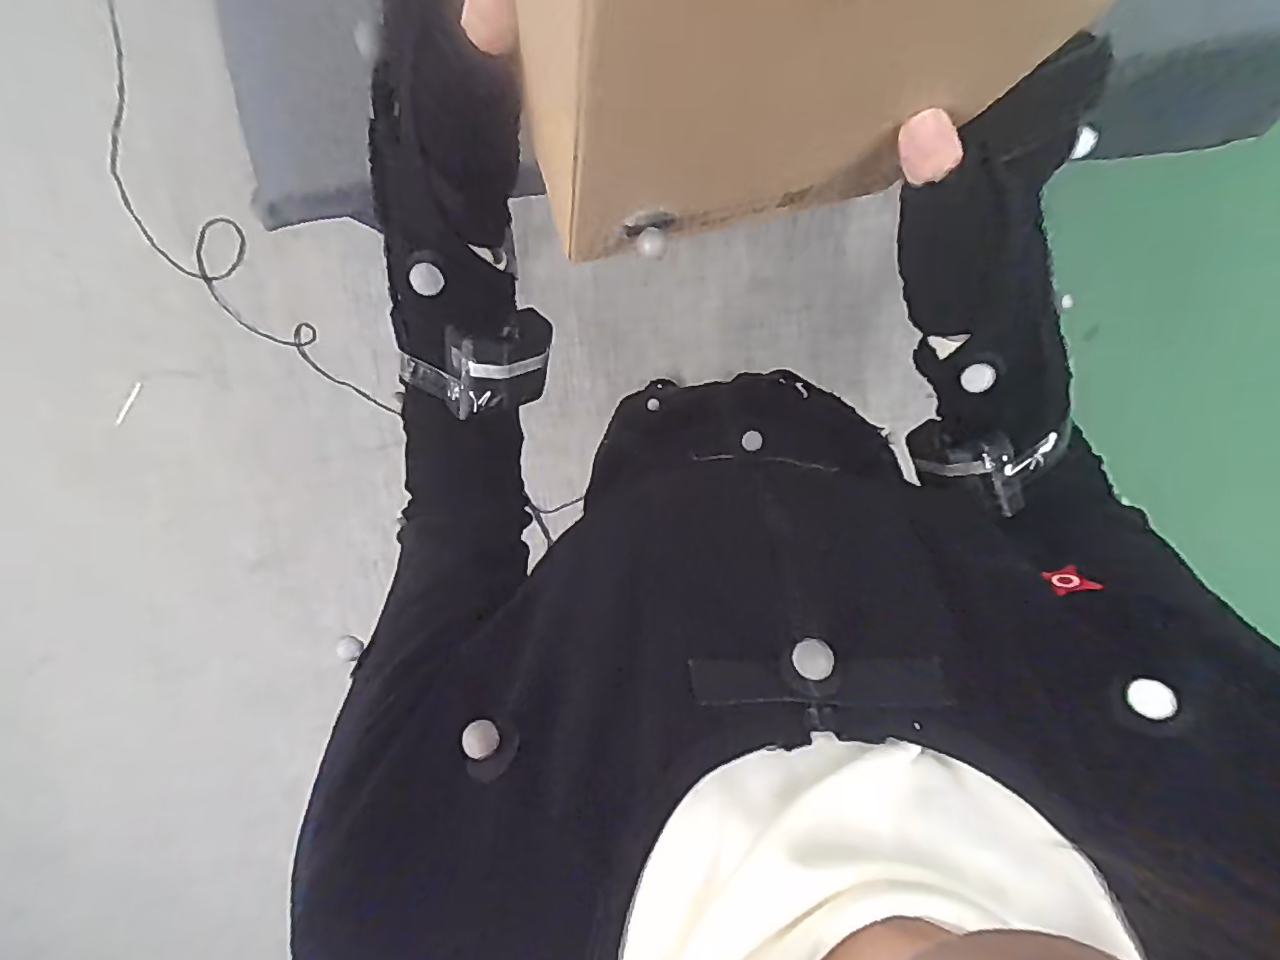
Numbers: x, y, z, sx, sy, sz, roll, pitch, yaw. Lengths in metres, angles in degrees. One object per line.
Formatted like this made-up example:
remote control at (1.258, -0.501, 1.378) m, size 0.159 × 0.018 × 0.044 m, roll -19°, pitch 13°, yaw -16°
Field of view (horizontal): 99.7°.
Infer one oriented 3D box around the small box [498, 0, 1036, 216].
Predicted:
small box at (0.033, -0.210, 0.174) m, size 0.168 × 0.176 × 0.179 m, roll -17°, pitch 94°, yaw -8°
